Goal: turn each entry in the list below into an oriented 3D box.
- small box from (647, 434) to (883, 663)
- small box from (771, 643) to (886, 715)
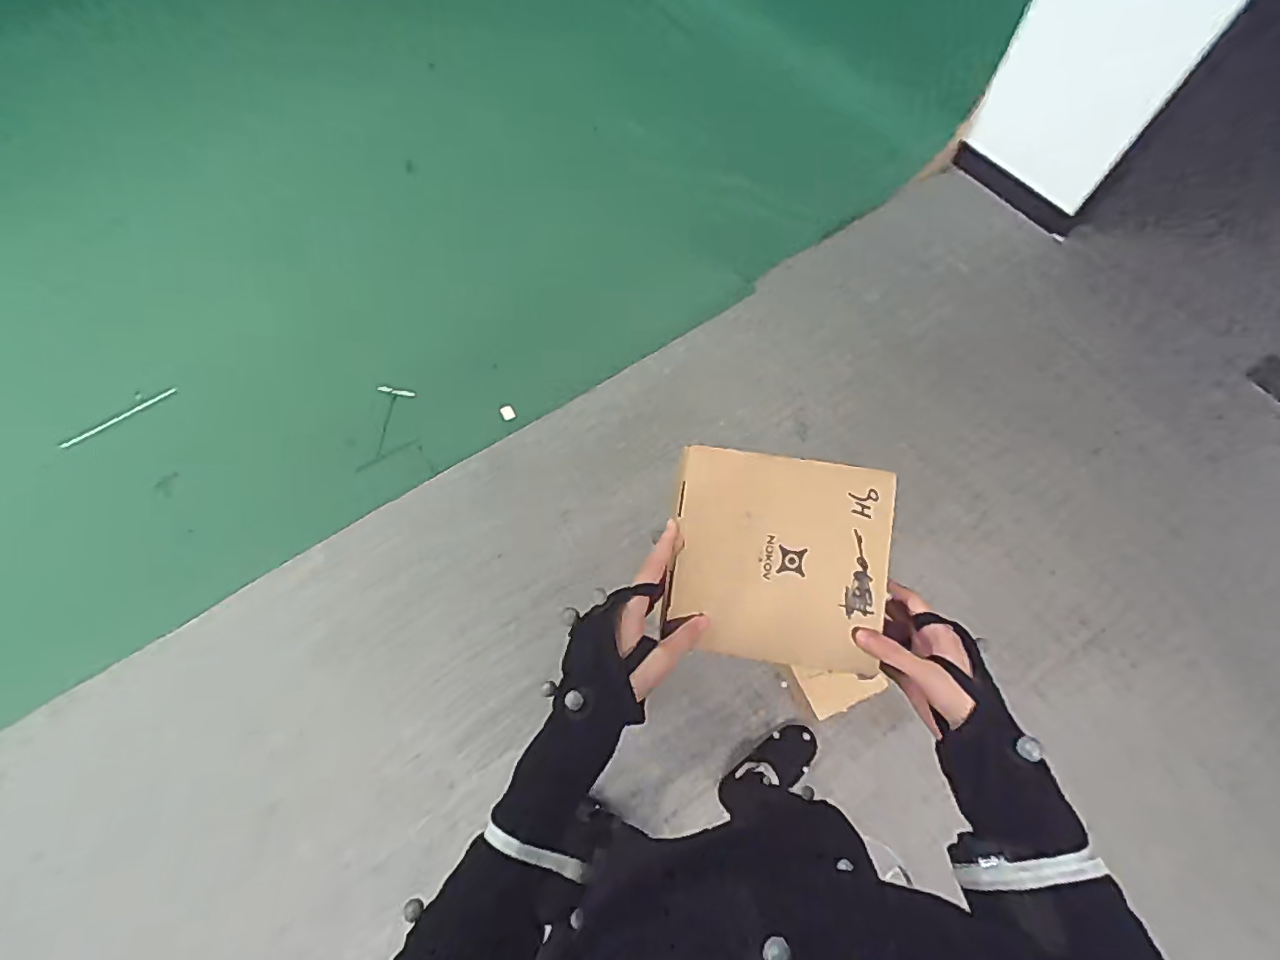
[{"bbox_3d":[0.105,0.062,0.518,0.179,0.176,0.168,8,84,2],"label":"small box"},{"bbox_3d":[0.428,0.429,1.261,0.179,0.176,0.168,-23,68,-5],"label":"small box"}]
